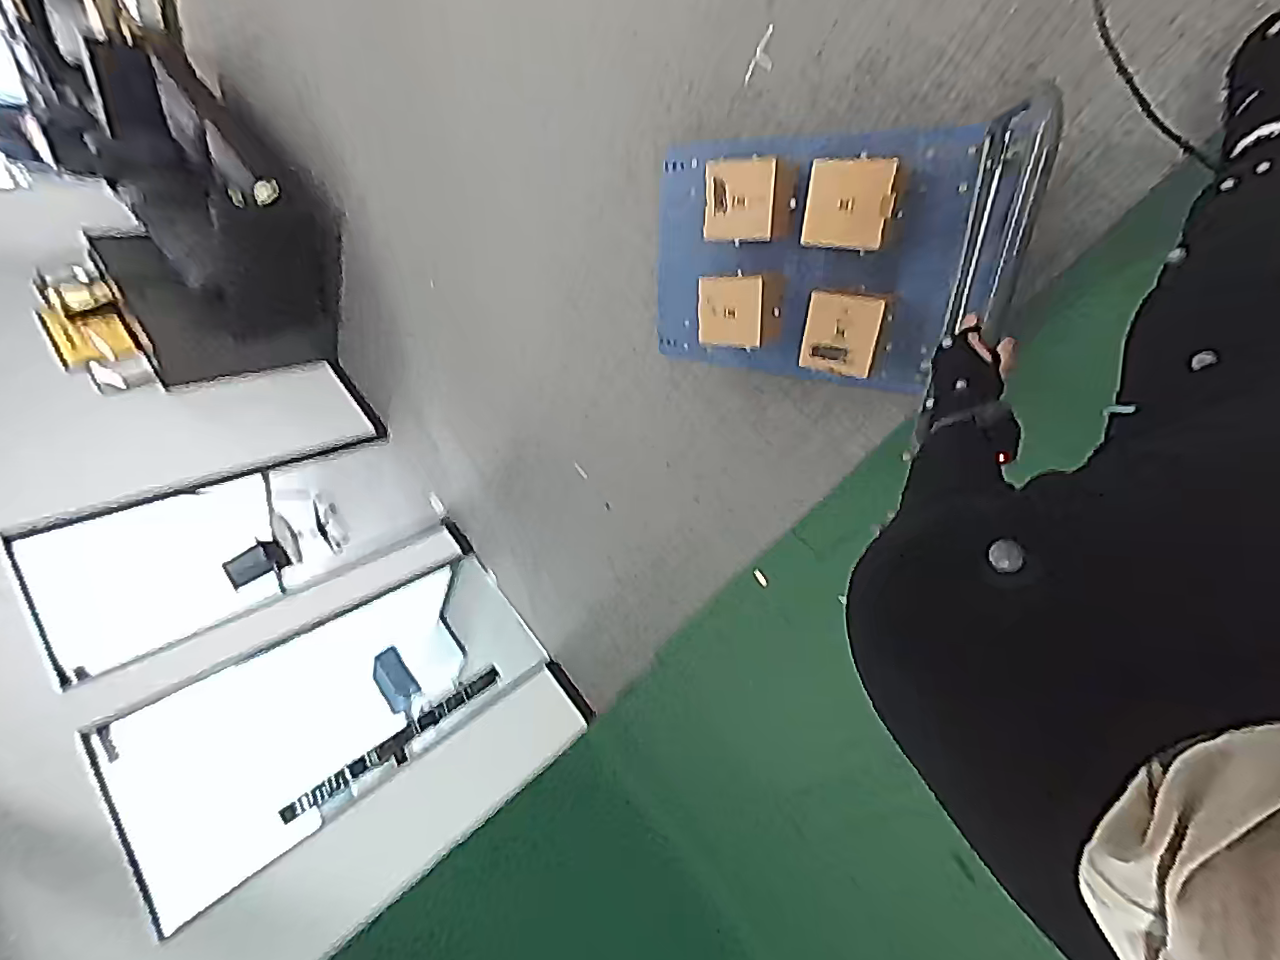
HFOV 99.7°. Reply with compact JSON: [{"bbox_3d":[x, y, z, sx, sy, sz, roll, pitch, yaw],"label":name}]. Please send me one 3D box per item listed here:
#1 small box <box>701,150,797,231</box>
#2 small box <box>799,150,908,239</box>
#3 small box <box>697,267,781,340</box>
[{"bbox_3d":[0.266,-0.702,1.324,0.179,0.176,0.168,14,120,28],"label":"small box"},{"bbox_3d":[0.478,-0.636,1.210,0.179,0.176,0.168,17,121,27],"label":"small box"},{"bbox_3d":[0.266,-0.474,1.437,0.179,0.176,0.168,12,118,30],"label":"small box"}]
